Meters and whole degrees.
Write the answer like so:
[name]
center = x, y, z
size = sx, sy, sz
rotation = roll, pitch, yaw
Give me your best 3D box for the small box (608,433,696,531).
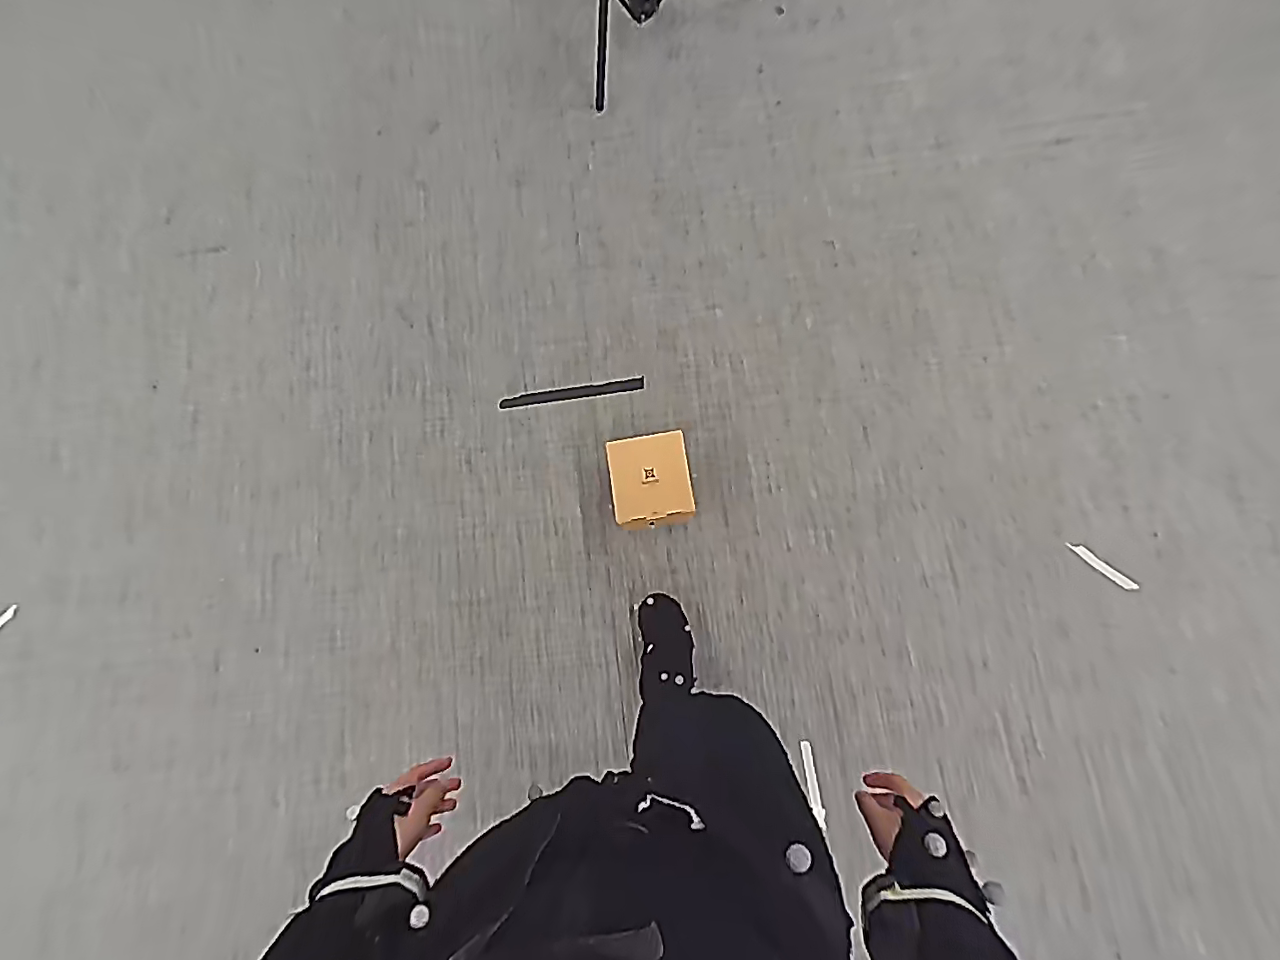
[small box]
center = 0.026, 0.010, 1.202
size = 0.168, 0.176, 0.179
rotation = -9, 80, 2
